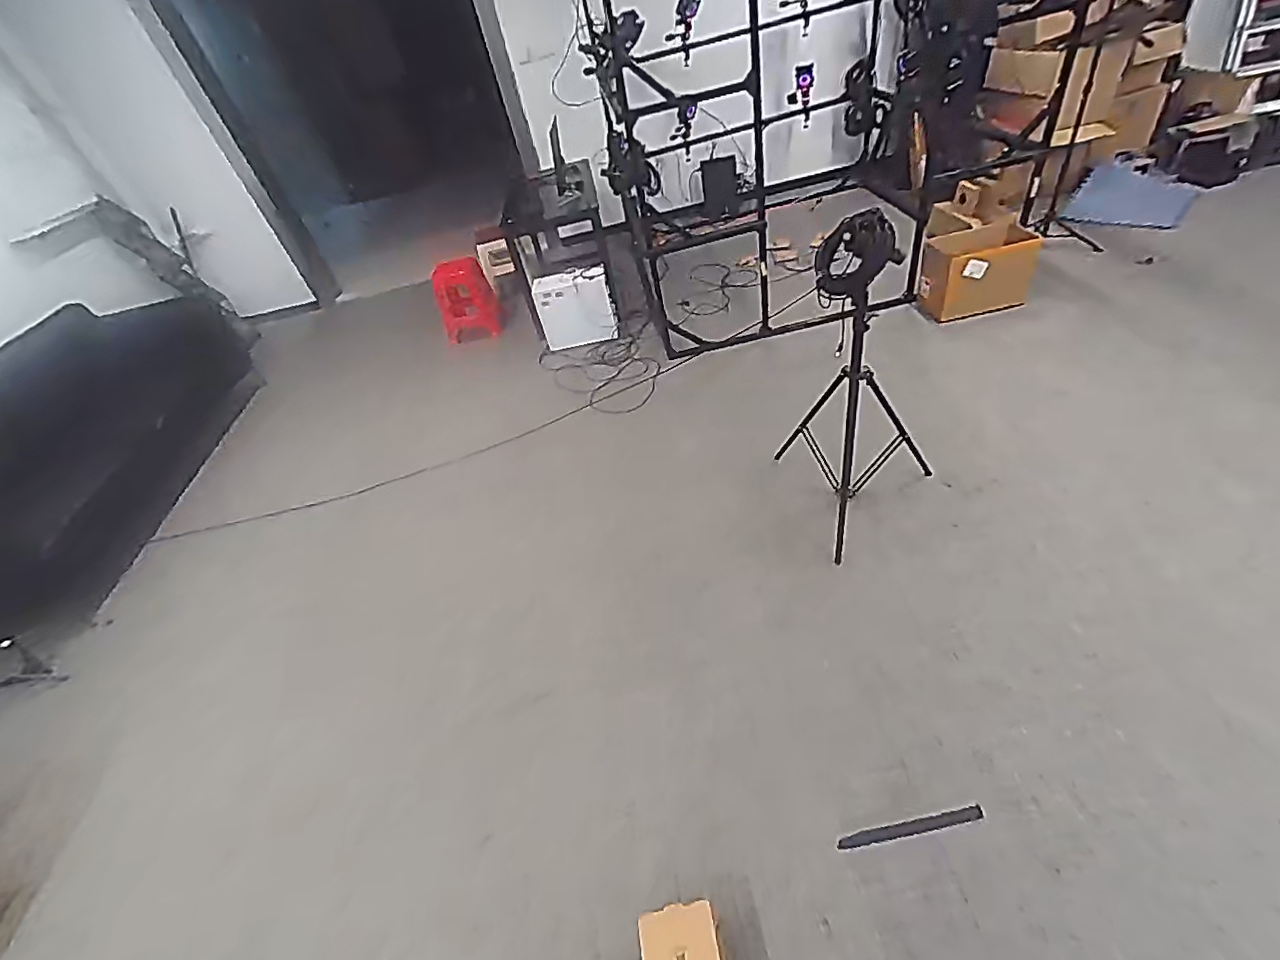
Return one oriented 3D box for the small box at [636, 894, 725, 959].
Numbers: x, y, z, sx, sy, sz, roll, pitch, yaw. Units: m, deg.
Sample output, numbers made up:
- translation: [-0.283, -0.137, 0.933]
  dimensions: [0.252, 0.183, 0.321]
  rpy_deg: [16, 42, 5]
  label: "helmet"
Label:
- translation: [0.095, 1.046, 1.182]
  dimensions: [0.168, 0.176, 0.179]
  rpy_deg: [-14, 41, 2]
  label: "small box"
